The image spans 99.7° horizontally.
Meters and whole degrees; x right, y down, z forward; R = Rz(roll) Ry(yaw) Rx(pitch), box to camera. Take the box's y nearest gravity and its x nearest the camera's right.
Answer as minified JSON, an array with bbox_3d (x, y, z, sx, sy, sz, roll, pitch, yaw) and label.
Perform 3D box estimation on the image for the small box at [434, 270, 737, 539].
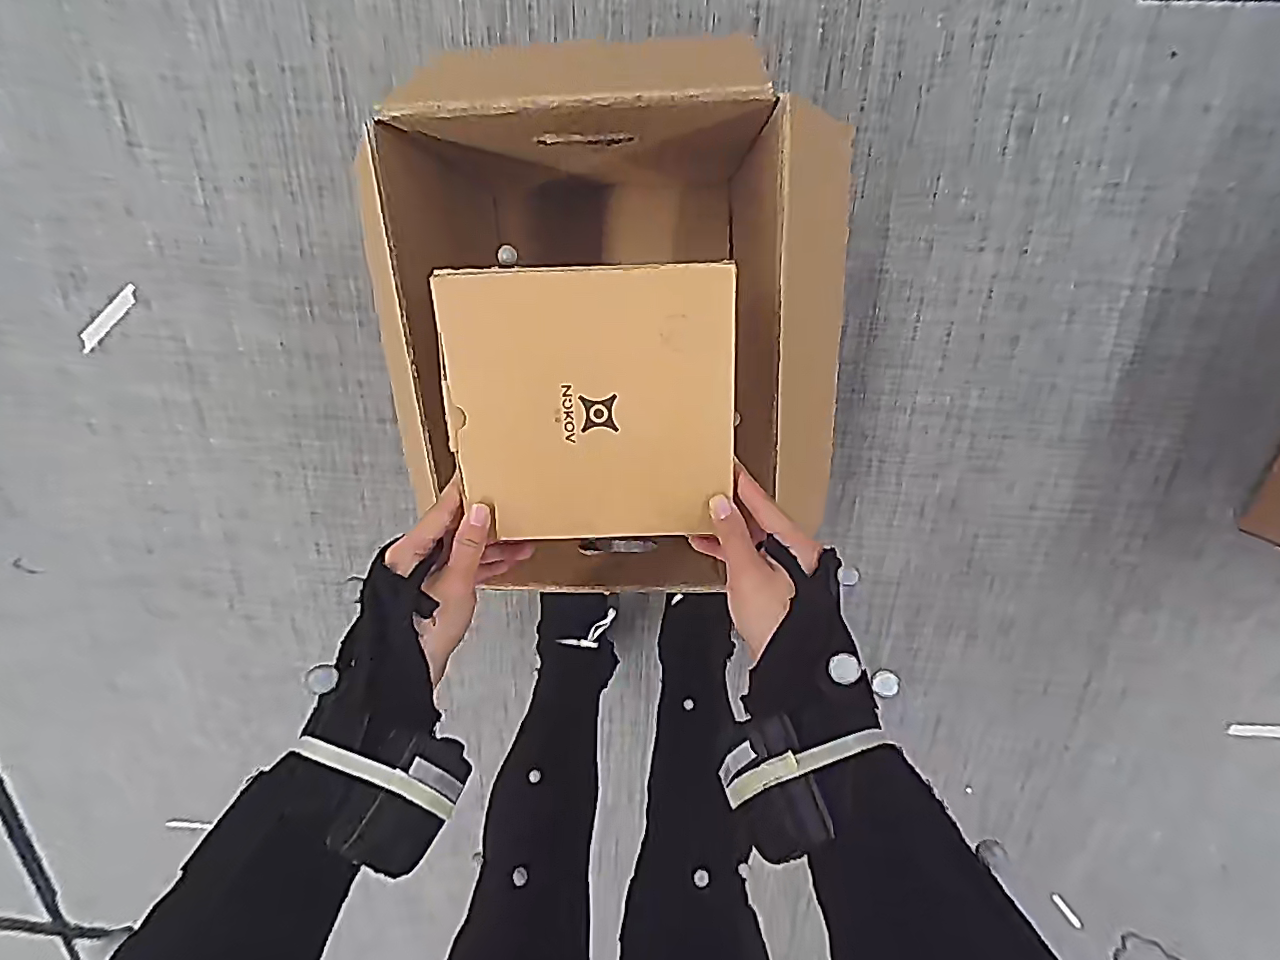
[{"bbox_3d":[-0.028,-0.066,0.408,0.179,0.176,0.168,-2,108,2],"label":"small box"}]
